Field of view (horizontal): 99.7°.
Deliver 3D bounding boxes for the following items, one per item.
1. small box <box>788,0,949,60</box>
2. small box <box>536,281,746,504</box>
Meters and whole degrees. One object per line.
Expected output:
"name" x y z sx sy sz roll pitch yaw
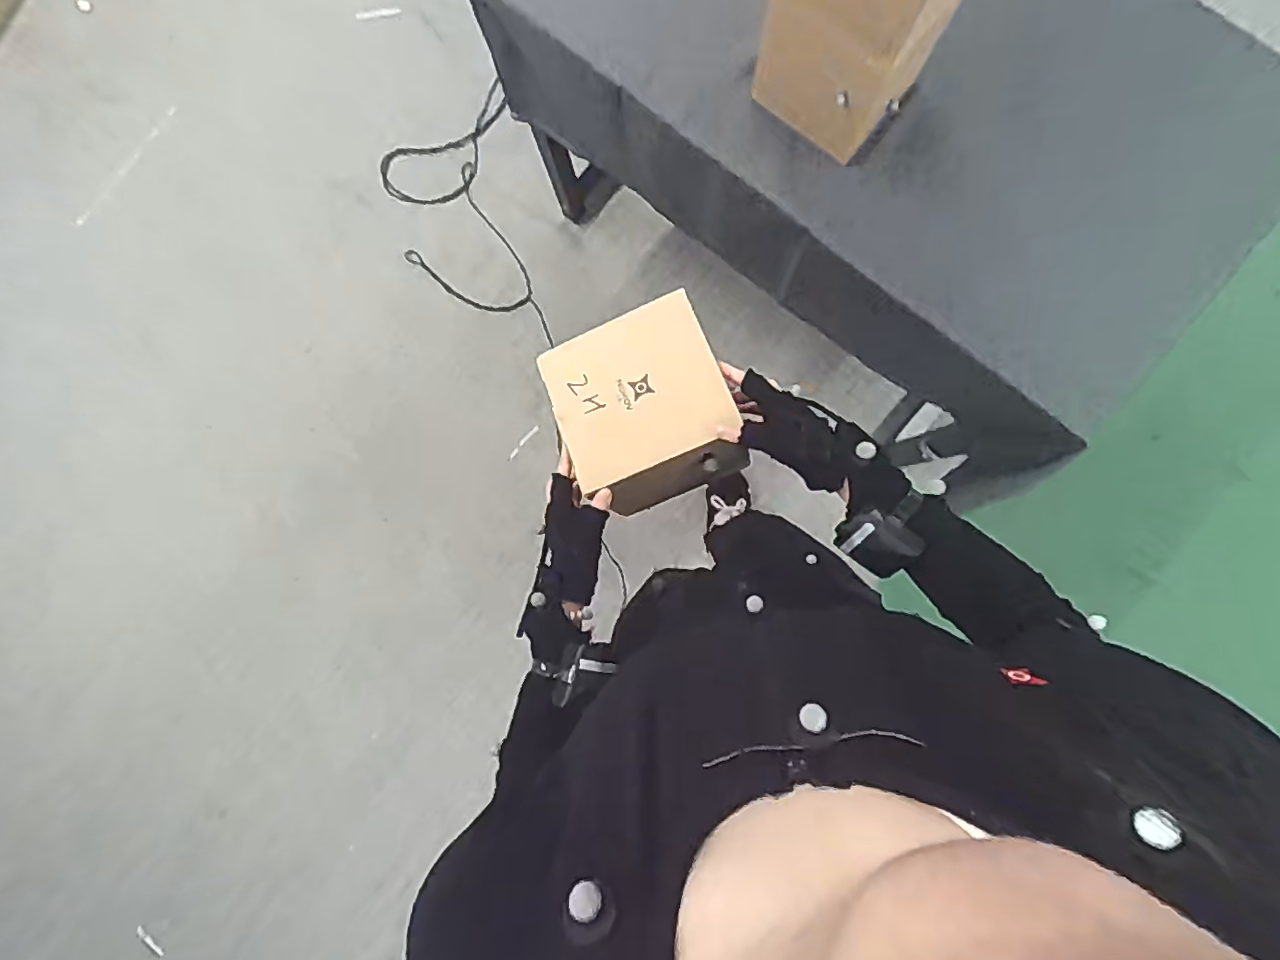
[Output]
"small box" 0.273 -0.592 0.557 0.179 0.176 0.168 39 89 5
"small box" 0.012 -0.085 0.619 0.179 0.176 0.168 -23 74 9
